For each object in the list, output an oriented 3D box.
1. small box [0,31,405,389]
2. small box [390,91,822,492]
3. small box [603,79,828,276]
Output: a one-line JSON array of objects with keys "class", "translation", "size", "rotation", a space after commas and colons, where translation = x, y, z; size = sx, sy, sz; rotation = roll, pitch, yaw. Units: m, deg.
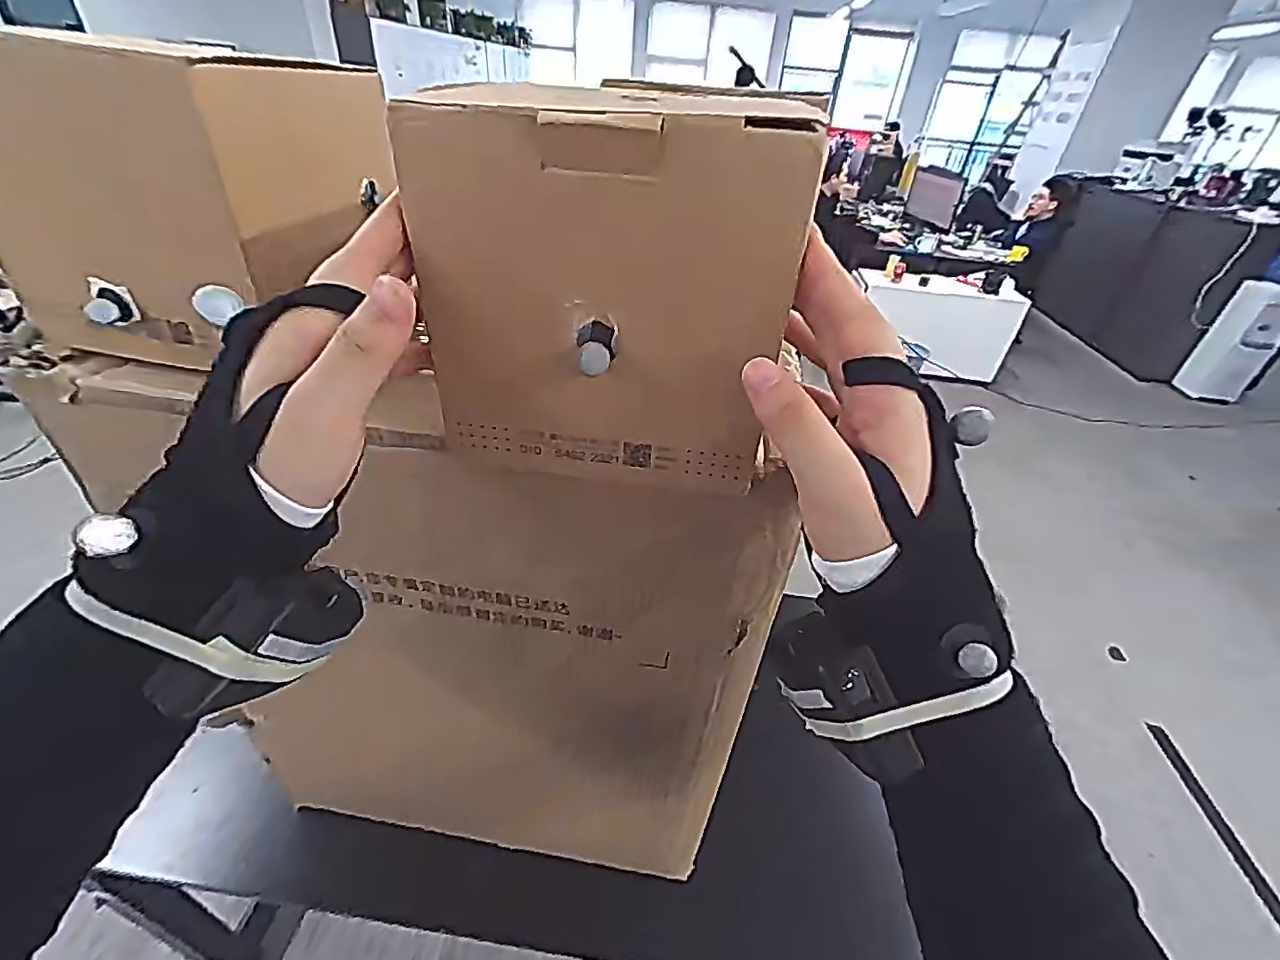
[{"class": "small box", "translation": [-0.280, -0.182, 0.367], "size": [0.168, 0.176, 0.179], "rotation": [8, 37, 3]}, {"class": "small box", "translation": [-0.006, -0.112, 0.311], "size": [0.168, 0.176, 0.179], "rotation": [7, 39, 4]}, {"class": "small box", "translation": [0.057, -0.249, 0.496], "size": [0.168, 0.176, 0.179], "rotation": [6, 33, 4]}]
